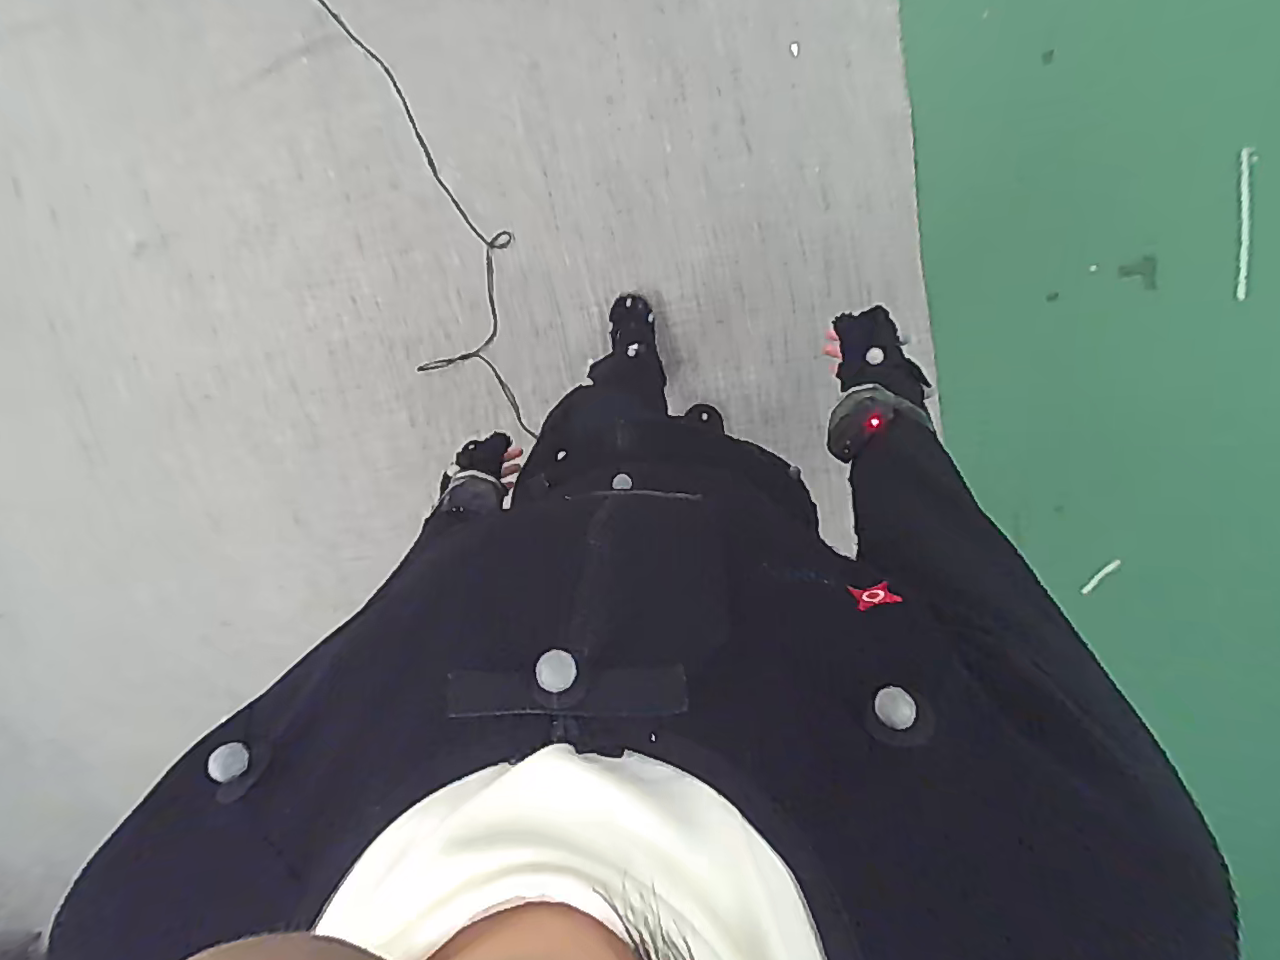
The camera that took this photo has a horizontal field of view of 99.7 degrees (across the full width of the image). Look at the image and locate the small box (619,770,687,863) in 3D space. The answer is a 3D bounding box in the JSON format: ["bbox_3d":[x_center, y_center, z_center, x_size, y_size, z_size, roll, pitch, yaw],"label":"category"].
[{"bbox_3d":[0.044,0.963,1.559,0.179,0.176,0.168,-5,102,6],"label":"small box"}]
